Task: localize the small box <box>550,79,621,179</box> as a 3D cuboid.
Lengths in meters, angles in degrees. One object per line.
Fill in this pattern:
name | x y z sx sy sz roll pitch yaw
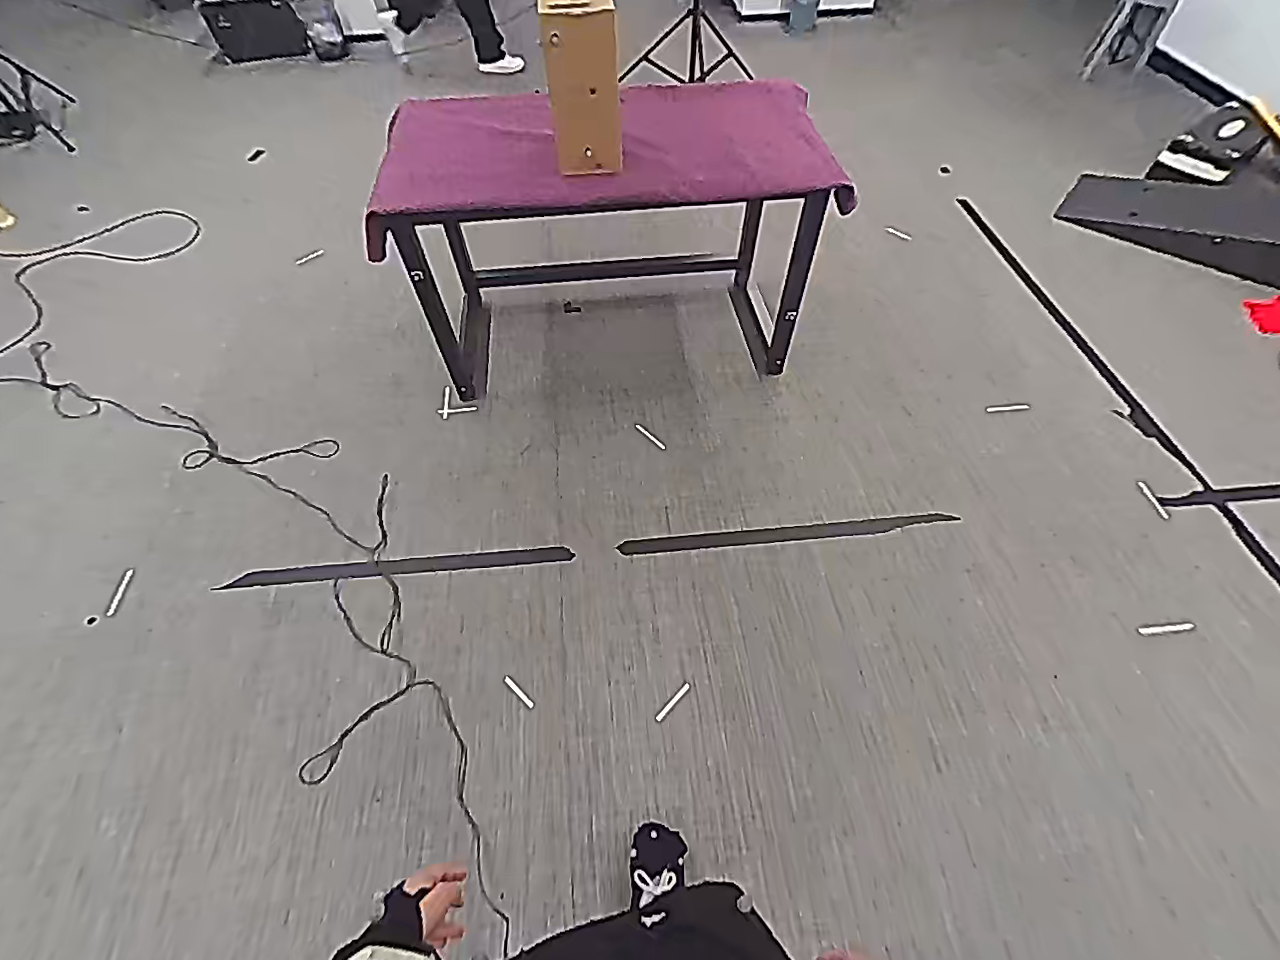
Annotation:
small box | -0.137 -0.909 1.403 0.168 0.176 0.179 -4 55 -1
